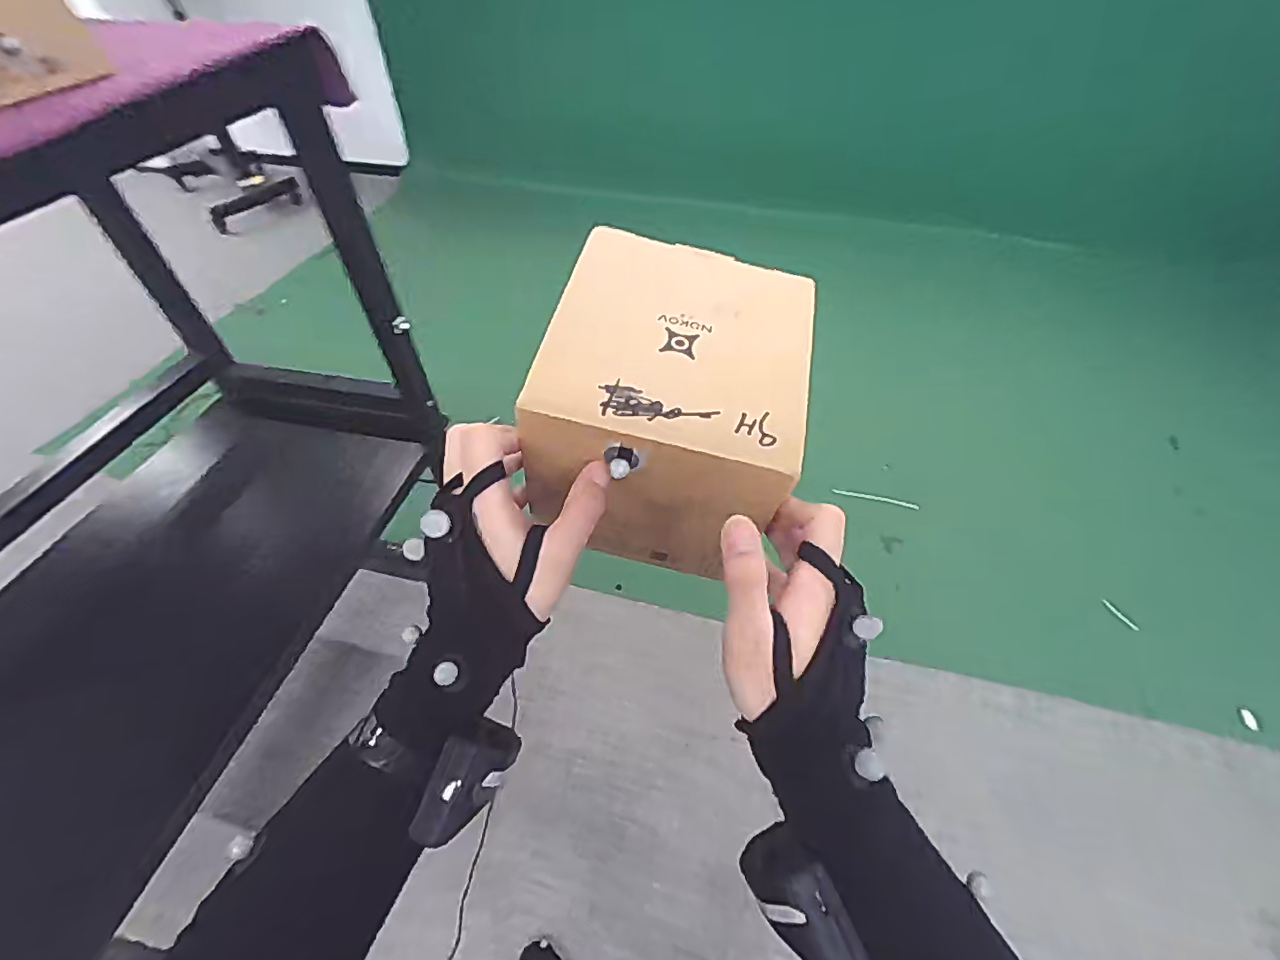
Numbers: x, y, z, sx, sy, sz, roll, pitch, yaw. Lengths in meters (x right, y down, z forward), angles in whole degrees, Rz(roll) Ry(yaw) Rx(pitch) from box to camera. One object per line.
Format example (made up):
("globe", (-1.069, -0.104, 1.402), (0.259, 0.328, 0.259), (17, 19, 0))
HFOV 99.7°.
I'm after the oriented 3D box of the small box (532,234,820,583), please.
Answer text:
("small box", (0.023, -0.047, 0.414), (0.168, 0.176, 0.179), (14, 56, 1))
